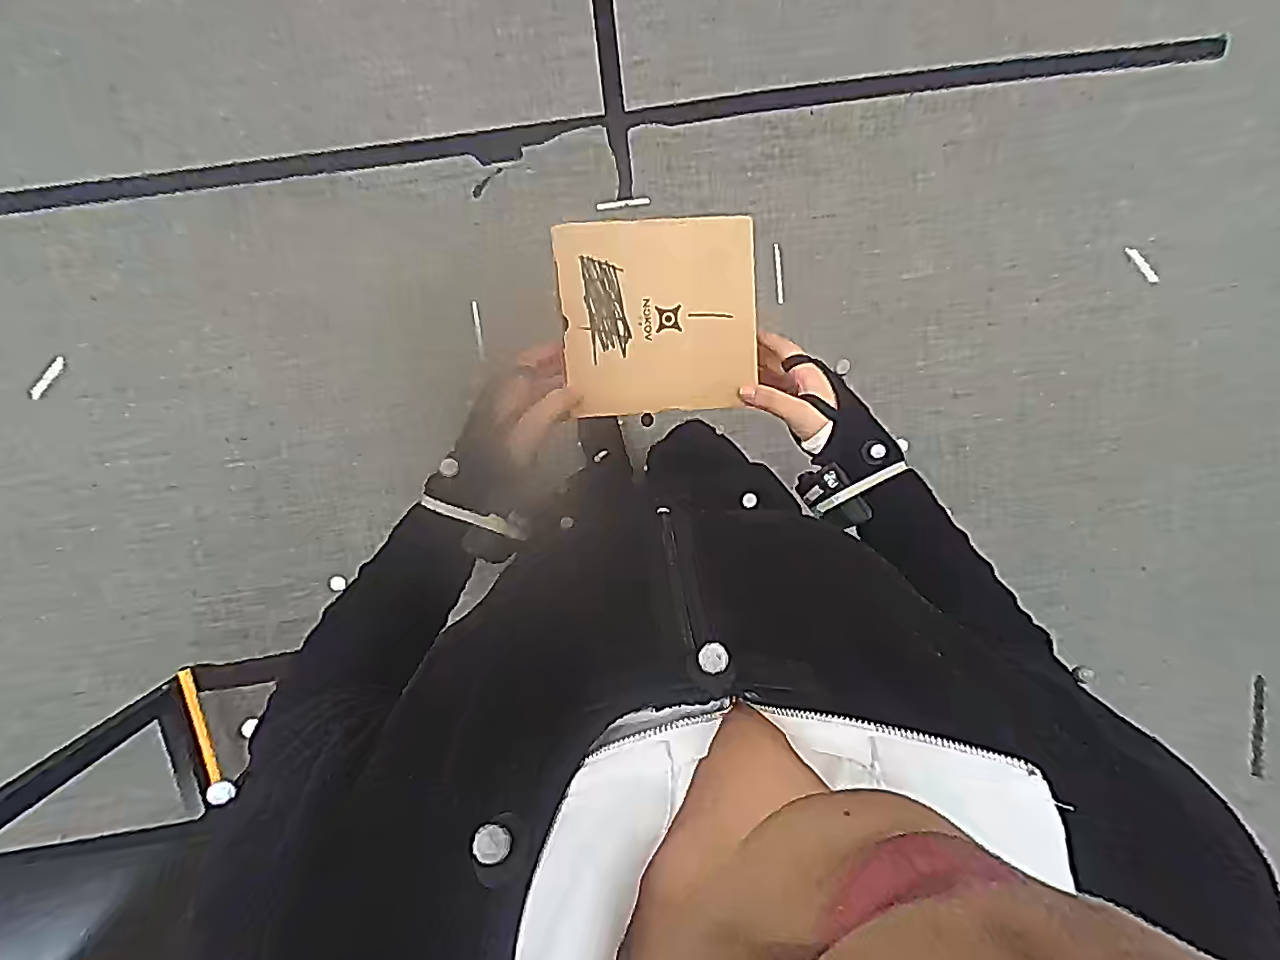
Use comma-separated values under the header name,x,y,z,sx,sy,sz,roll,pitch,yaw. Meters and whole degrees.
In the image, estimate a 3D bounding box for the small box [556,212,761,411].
name,x,y,z,sx,sy,sz,roll,pitch,yaw
small box,0.014,-0.156,0.551,0.179,0.176,0.168,-4,99,-4
